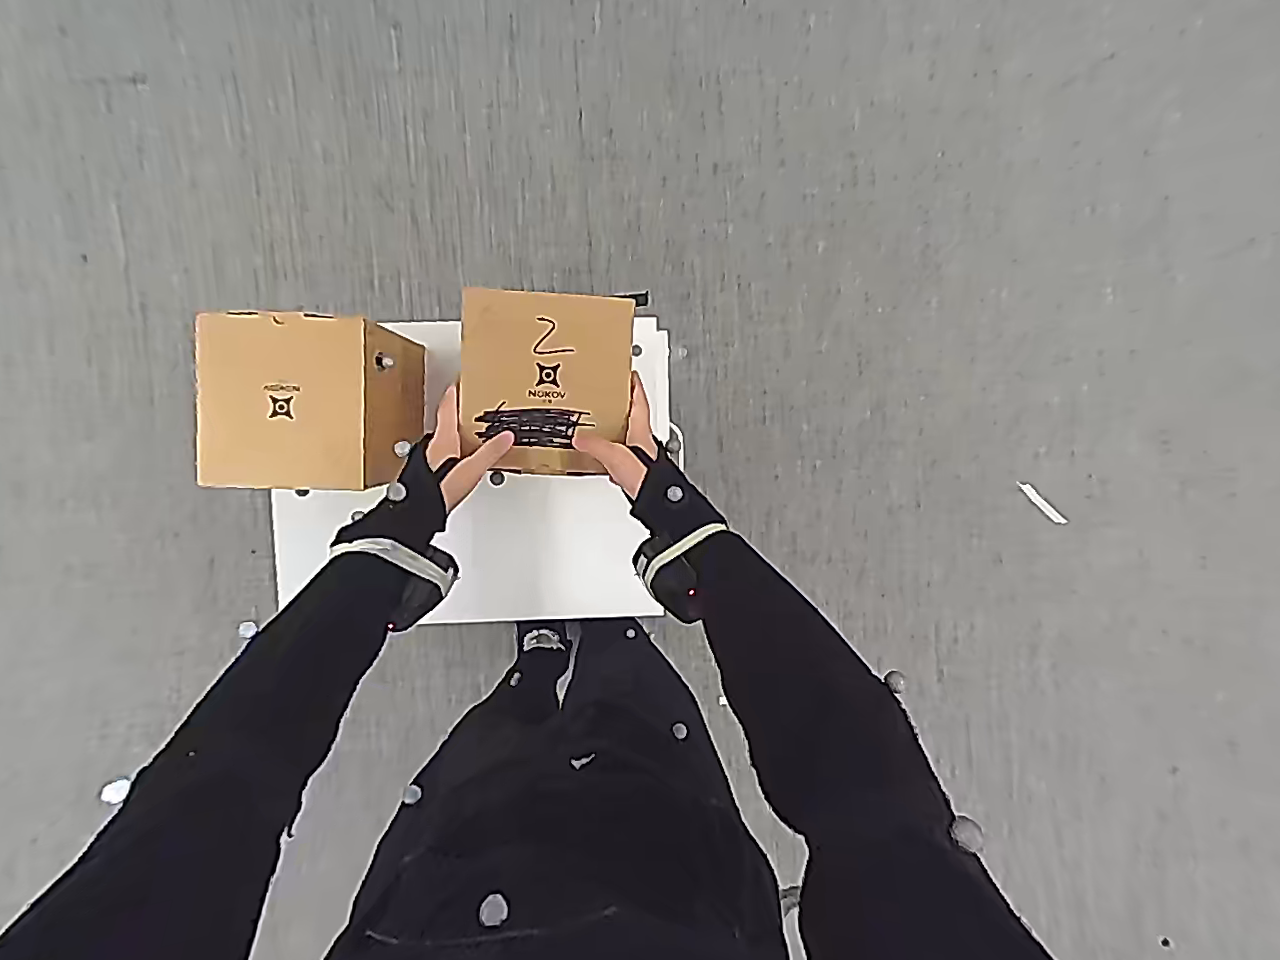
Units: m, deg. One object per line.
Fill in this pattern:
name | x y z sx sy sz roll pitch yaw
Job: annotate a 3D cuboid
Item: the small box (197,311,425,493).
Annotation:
small box | -0.355 -0.082 0.614 0.168 0.176 0.179 1 93 -2
